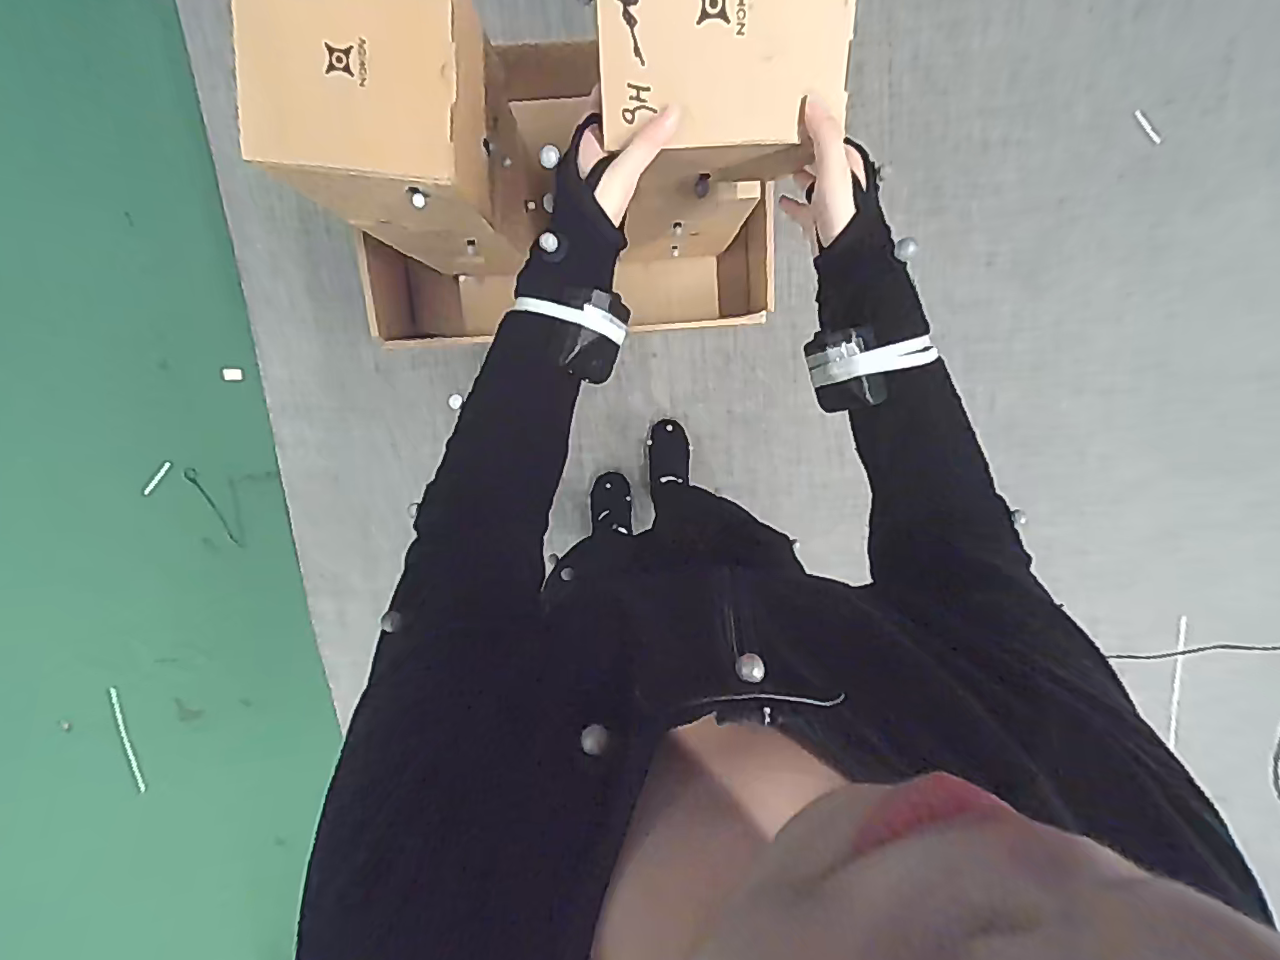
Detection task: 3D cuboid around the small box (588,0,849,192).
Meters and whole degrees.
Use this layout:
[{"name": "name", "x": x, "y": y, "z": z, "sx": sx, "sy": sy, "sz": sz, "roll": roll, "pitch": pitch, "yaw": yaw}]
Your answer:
[{"name": "small box", "x": 0.050, "y": -0.337, "z": 0.432, "sx": 0.179, "sy": 0.176, "sz": 0.168, "roll": -2, "pitch": 109, "yaw": -1}]

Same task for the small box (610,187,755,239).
[{"name": "small box", "x": 0.046, "y": -0.407, "z": 0.669, "sx": 0.168, "sy": 0.176, "sz": 0.179, "roll": -3, "pitch": 101, "yaw": 1}]

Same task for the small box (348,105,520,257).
[{"name": "small box", "x": -0.249, "y": -0.387, "z": 0.678, "sx": 0.168, "sy": 0.176, "sz": 0.179, "roll": 2, "pitch": 100, "yaw": -1}]

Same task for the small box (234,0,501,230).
[{"name": "small box", "x": -0.243, "y": -0.353, "z": 0.519, "sx": 0.179, "sy": 0.176, "sz": 0.168, "roll": 4, "pitch": 101, "yaw": -3}]
